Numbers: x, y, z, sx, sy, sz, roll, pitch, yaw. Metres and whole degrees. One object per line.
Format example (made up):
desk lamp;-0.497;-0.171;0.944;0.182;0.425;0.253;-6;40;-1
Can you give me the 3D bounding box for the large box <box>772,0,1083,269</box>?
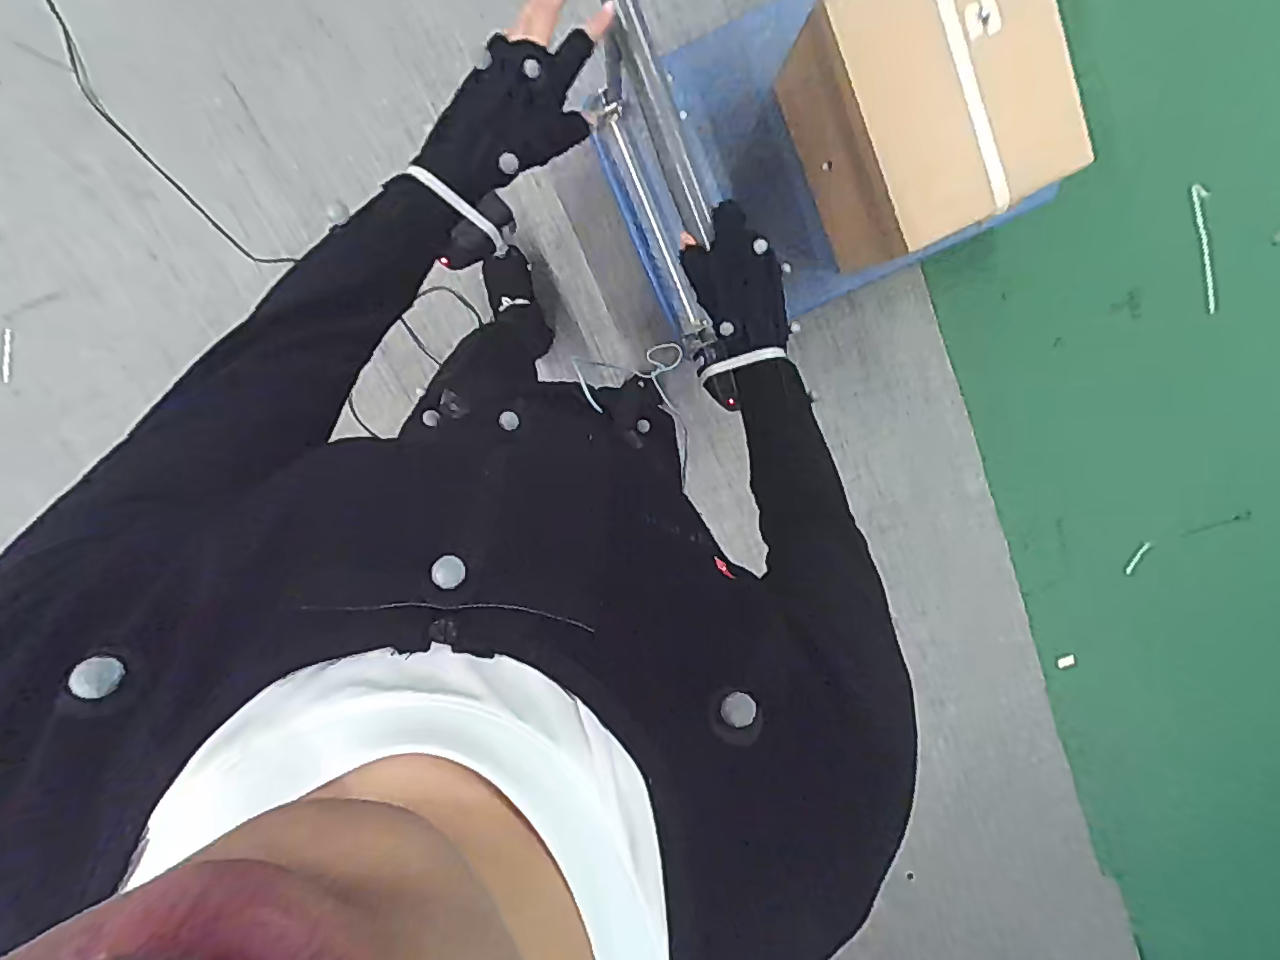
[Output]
large box;0.486;-0.658;0.982;0.320;0.320;0.408;-26;103;6
